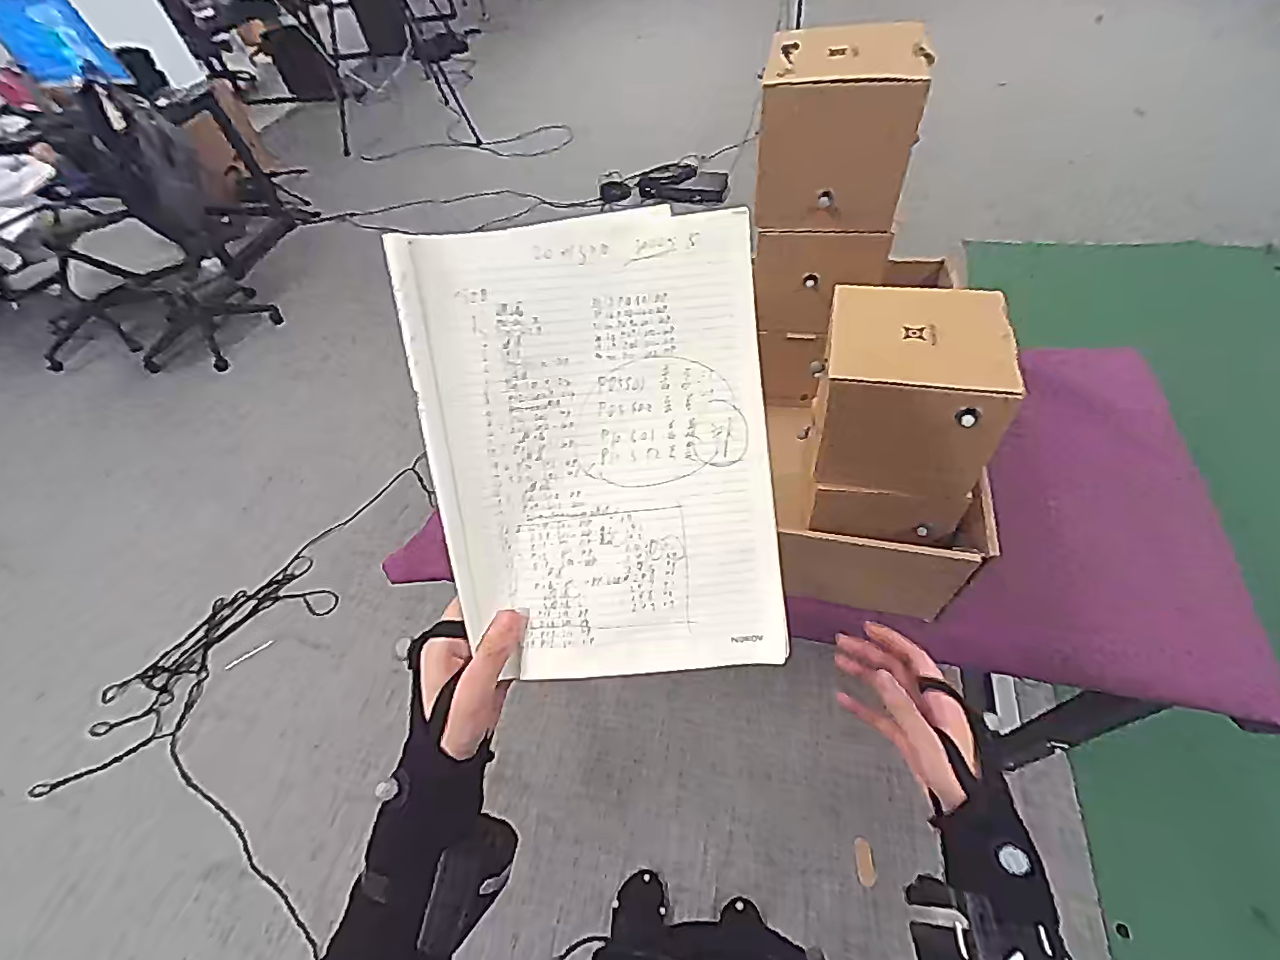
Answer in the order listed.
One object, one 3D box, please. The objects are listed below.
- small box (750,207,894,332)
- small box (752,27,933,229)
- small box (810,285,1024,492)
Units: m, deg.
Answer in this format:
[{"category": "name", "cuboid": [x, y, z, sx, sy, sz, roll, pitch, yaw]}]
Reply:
[{"category": "small box", "cuboid": [0.265, -0.340, 0.815, 0.179, 0.176, 0.168, 6, 55, 12]}, {"category": "small box", "cuboid": [0.246, -0.440, 0.686, 0.179, 0.176, 0.168, 8, 55, 12]}, {"category": "small box", "cuboid": [0.299, -0.103, 0.624, 0.179, 0.176, 0.168, 8, 53, 13]}]
